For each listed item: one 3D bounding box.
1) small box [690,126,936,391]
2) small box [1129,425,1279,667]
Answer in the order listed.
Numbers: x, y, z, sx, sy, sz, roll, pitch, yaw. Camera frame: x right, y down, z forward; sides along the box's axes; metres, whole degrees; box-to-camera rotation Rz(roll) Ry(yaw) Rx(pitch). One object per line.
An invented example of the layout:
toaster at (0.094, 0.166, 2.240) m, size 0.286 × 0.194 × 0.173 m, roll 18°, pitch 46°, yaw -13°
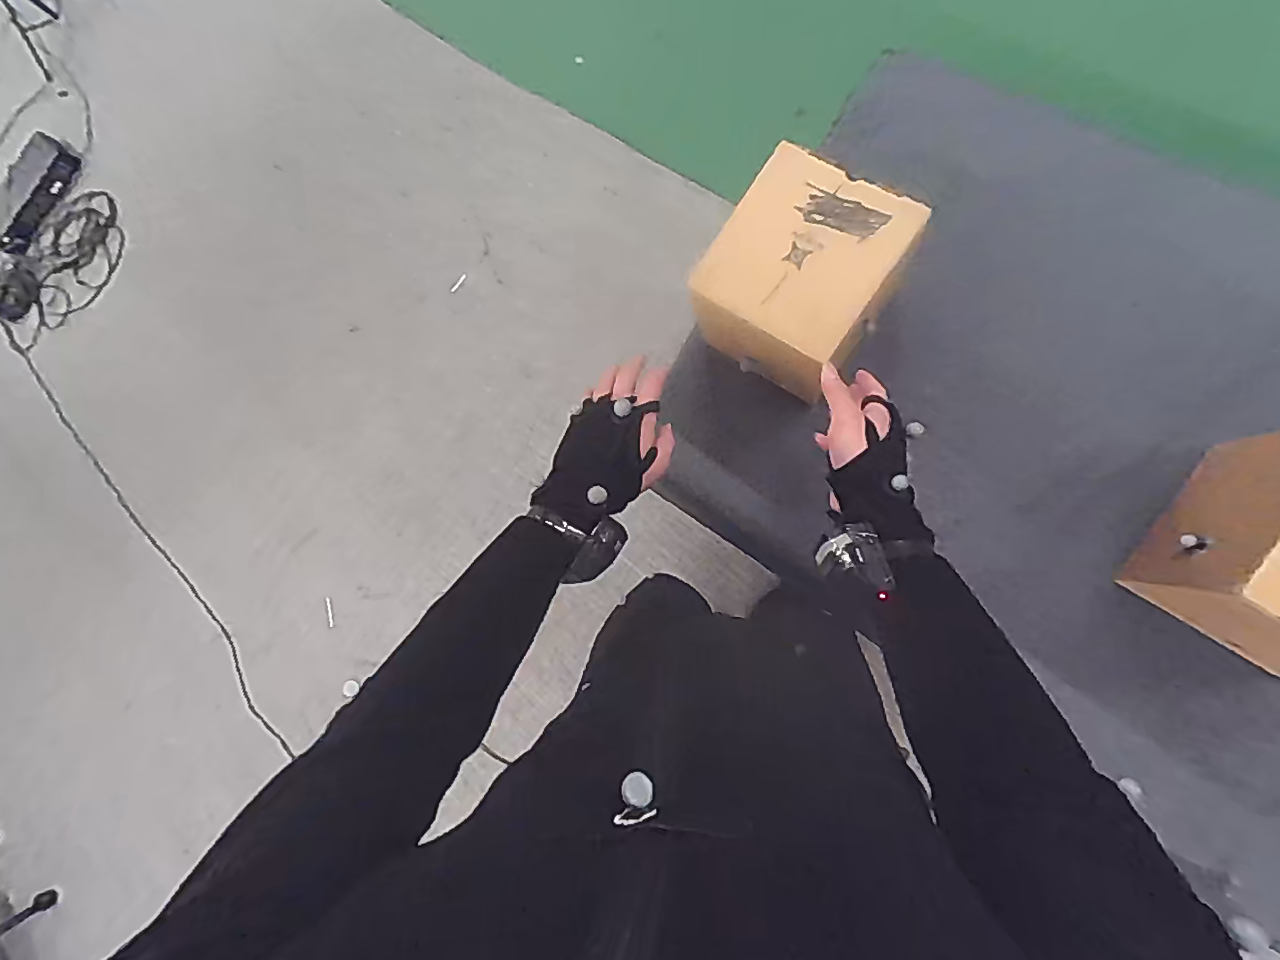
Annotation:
small box at (0.178, -0.226, 0.594) m, size 0.168 × 0.176 × 0.179 m, roll 36°, pitch 94°, yaw 15°
small box at (0.587, 0.064, 0.465) m, size 0.168 × 0.176 × 0.179 m, roll 35°, pitch 93°, yaw 13°
